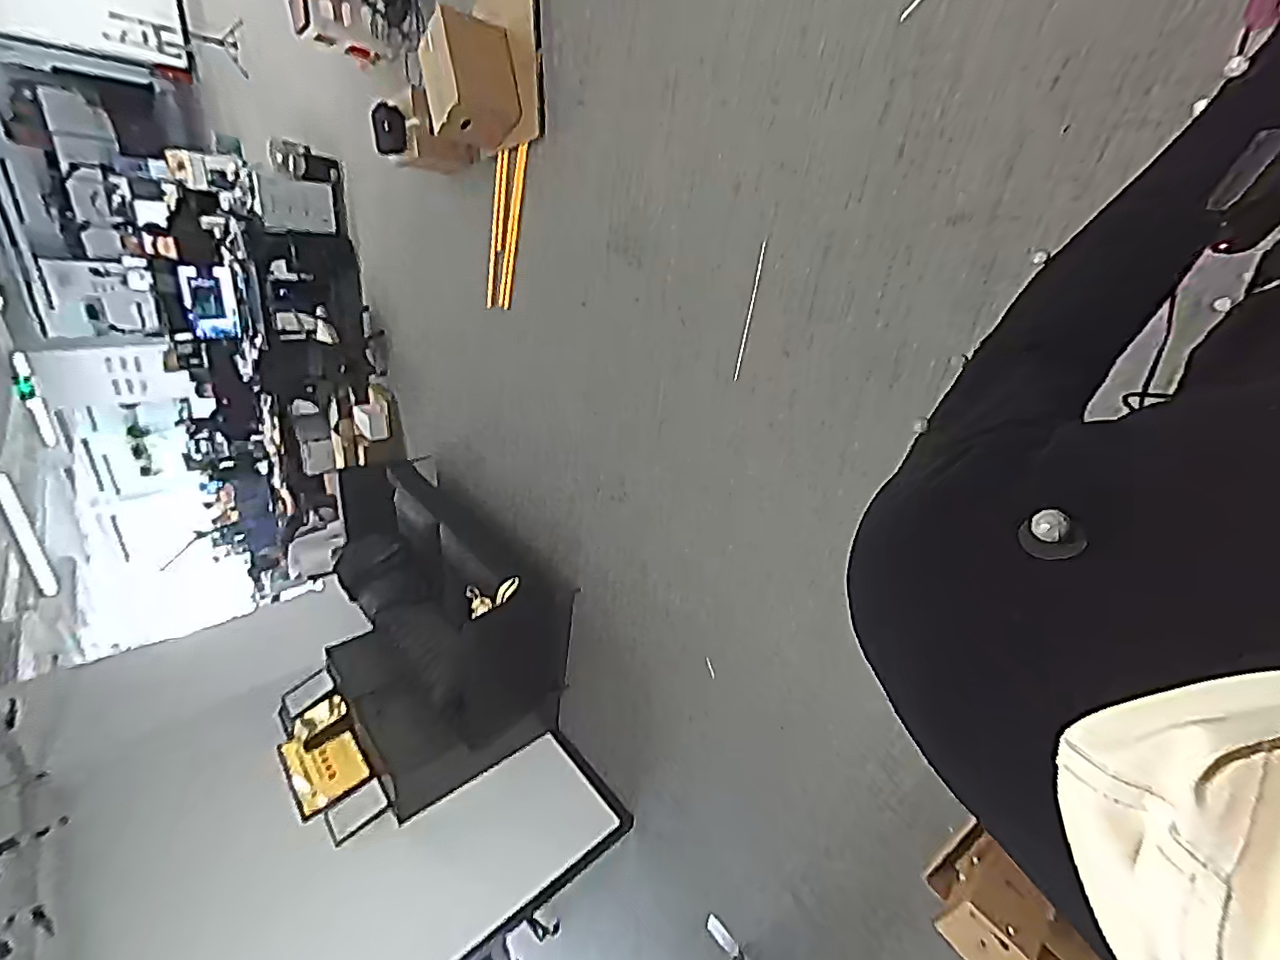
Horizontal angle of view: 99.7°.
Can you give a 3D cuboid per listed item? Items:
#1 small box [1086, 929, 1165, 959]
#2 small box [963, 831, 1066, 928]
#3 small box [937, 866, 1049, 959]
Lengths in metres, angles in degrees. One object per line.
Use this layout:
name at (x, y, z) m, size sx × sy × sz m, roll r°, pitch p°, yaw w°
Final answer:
small box at (1.244, 1.295, 1.358) m, size 0.168 × 0.176 × 0.179 m, roll 37°, pitch 129°, yaw 36°
small box at (1.058, 1.149, 1.527) m, size 0.168 × 0.176 × 0.179 m, roll 38°, pitch 128°, yaw 35°
small box at (0.932, 1.178, 1.424) m, size 0.168 × 0.176 × 0.179 m, roll 39°, pitch 130°, yaw 34°
